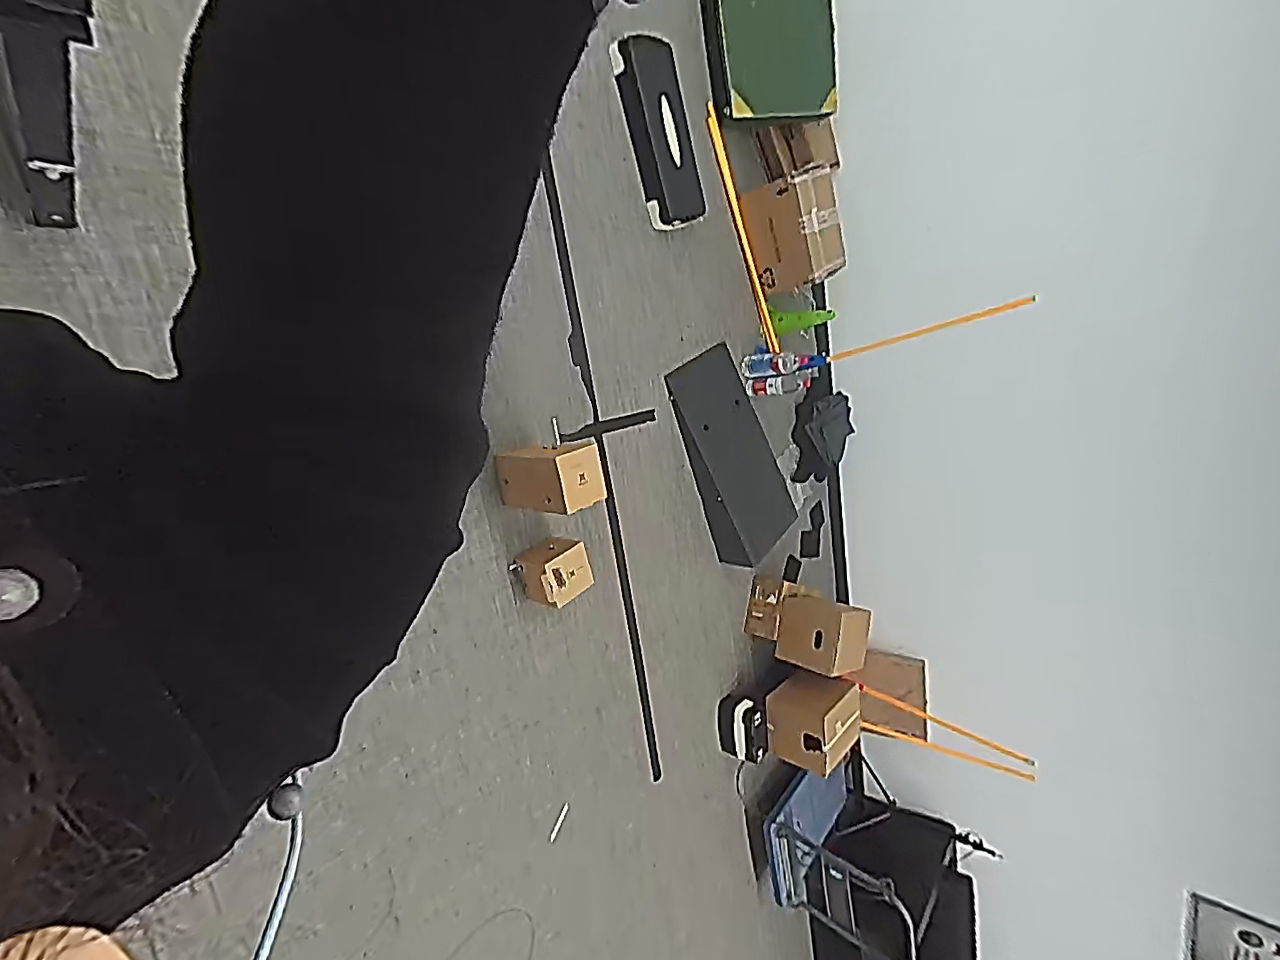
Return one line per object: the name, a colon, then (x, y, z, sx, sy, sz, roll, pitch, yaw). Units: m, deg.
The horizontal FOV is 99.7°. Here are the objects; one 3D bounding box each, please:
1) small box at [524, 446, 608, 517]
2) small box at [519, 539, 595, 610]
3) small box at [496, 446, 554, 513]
small box: (-0.225, -0.001, 1.635, 0.168, 0.176, 0.179, -24, 109, -44)
small box: (-0.288, 0.313, 1.830, 0.179, 0.176, 0.168, -30, 114, -42)
small box: (-0.342, -0.008, 1.750, 0.168, 0.176, 0.179, -21, 109, -44)
